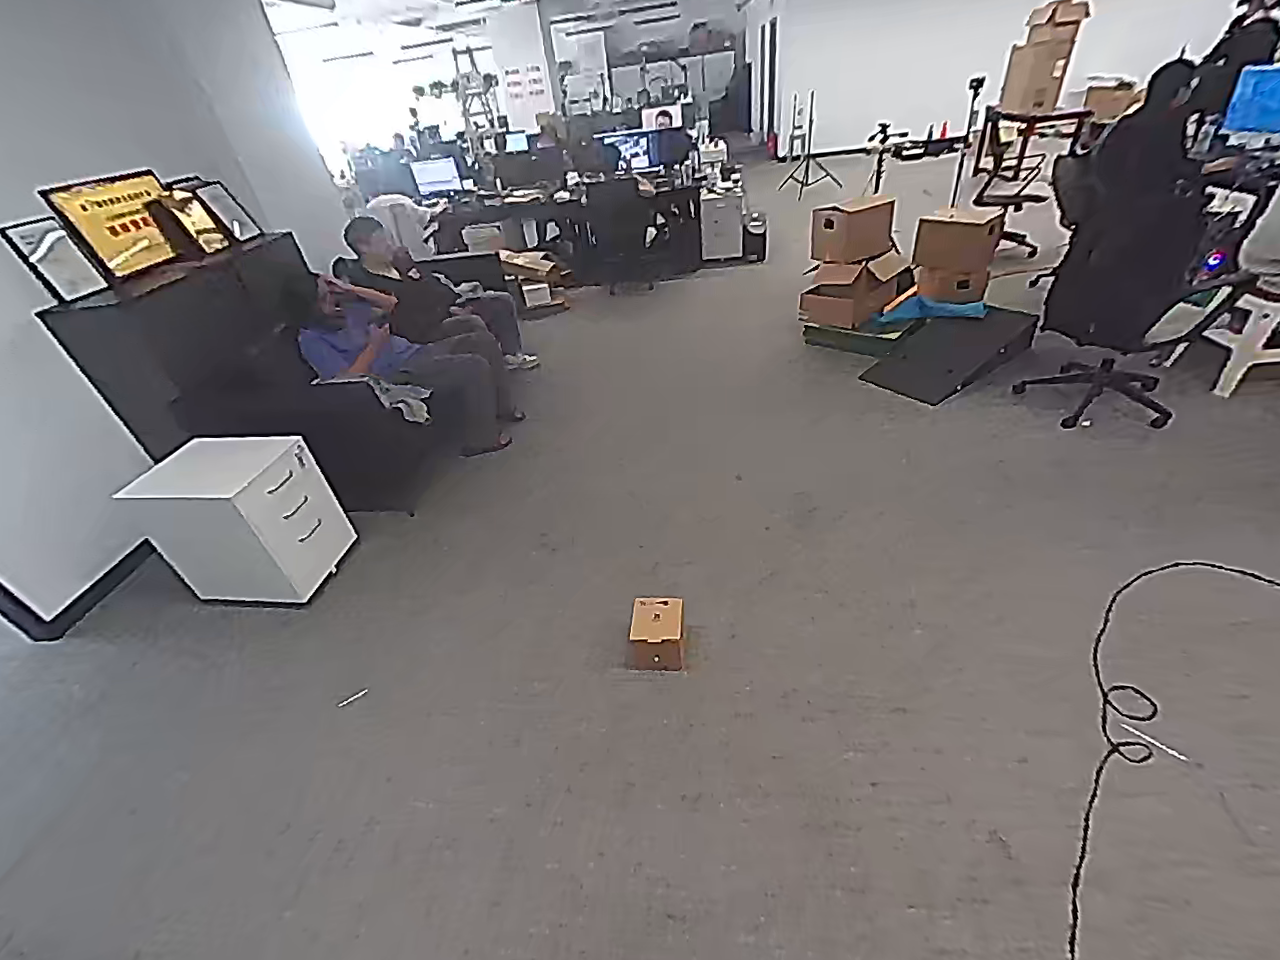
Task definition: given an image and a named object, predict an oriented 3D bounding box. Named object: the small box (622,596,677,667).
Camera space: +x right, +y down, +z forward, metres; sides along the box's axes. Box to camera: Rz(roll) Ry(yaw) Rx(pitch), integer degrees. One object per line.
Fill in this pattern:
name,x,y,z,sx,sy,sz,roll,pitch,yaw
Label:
small box,0.038,0.522,1.847,0.168,0.176,0.179,-4,36,7
